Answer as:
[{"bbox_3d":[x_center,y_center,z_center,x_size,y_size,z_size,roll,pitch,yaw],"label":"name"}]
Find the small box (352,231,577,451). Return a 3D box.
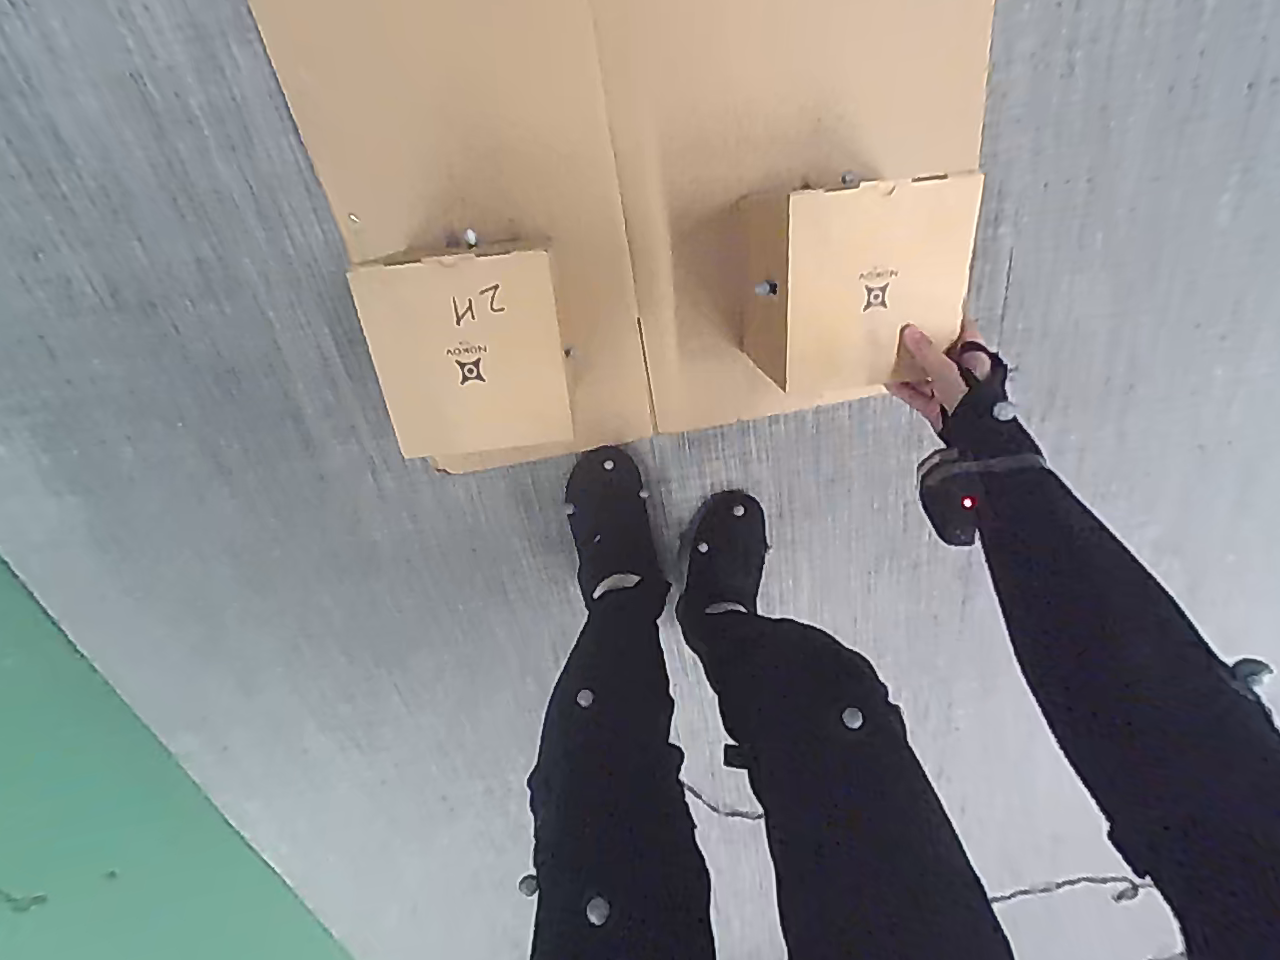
[{"bbox_3d":[-0.154,-0.147,0.547,0.168,0.176,0.179,-6,117,-4],"label":"small box"}]

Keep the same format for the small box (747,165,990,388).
[{"bbox_3d":[0.210,-0.208,0.550,0.168,0.176,0.179,-7,115,-1],"label":"small box"}]
